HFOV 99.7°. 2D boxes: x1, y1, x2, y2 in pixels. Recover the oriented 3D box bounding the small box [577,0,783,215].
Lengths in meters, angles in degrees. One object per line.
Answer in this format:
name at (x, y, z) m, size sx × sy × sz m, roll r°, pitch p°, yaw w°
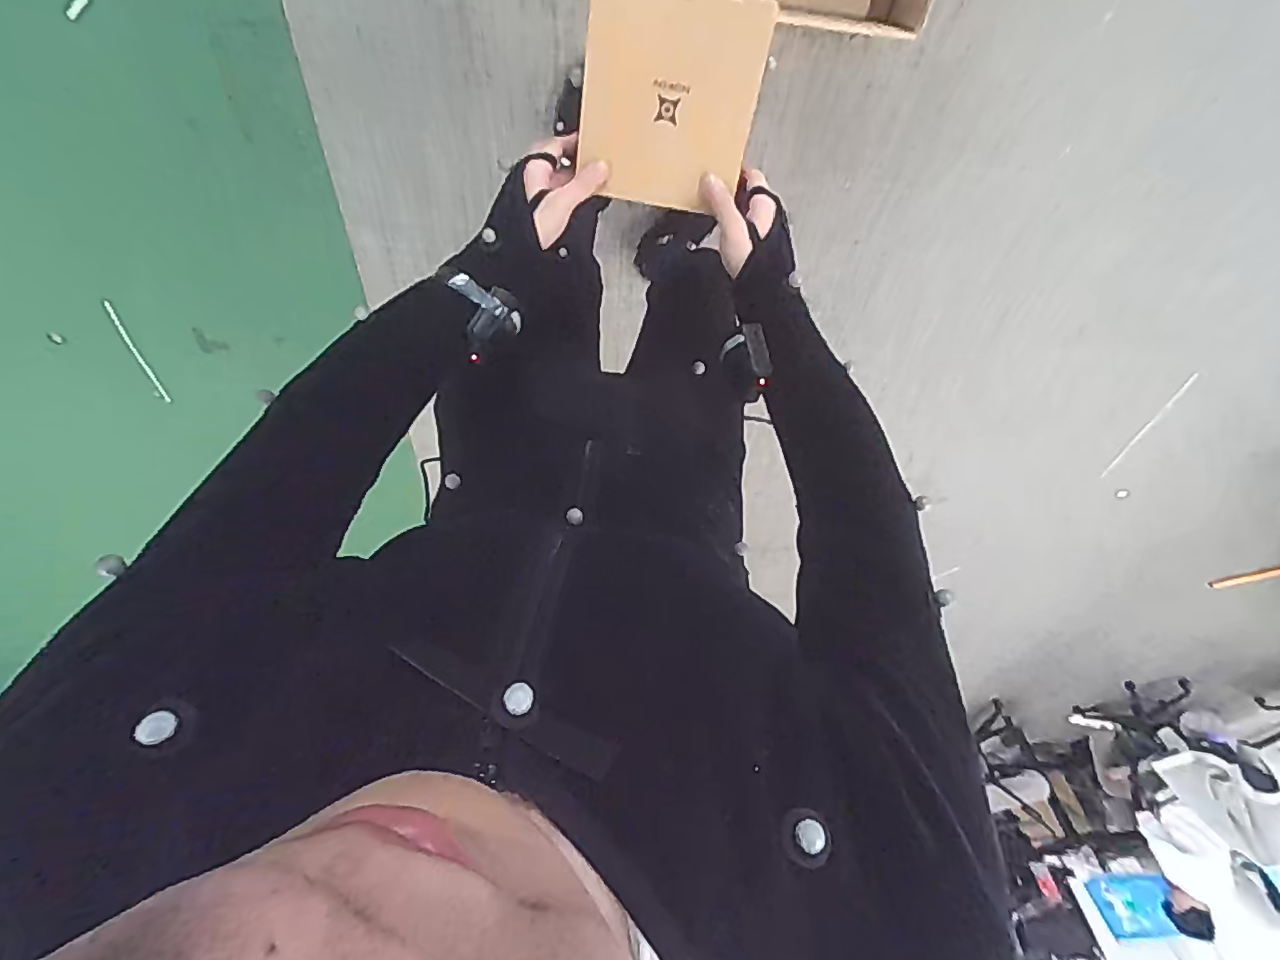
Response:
small box at (0.033, -0.403, 0.575) m, size 0.168 × 0.176 × 0.179 m, roll 9°, pitch 122°, yaw -5°
